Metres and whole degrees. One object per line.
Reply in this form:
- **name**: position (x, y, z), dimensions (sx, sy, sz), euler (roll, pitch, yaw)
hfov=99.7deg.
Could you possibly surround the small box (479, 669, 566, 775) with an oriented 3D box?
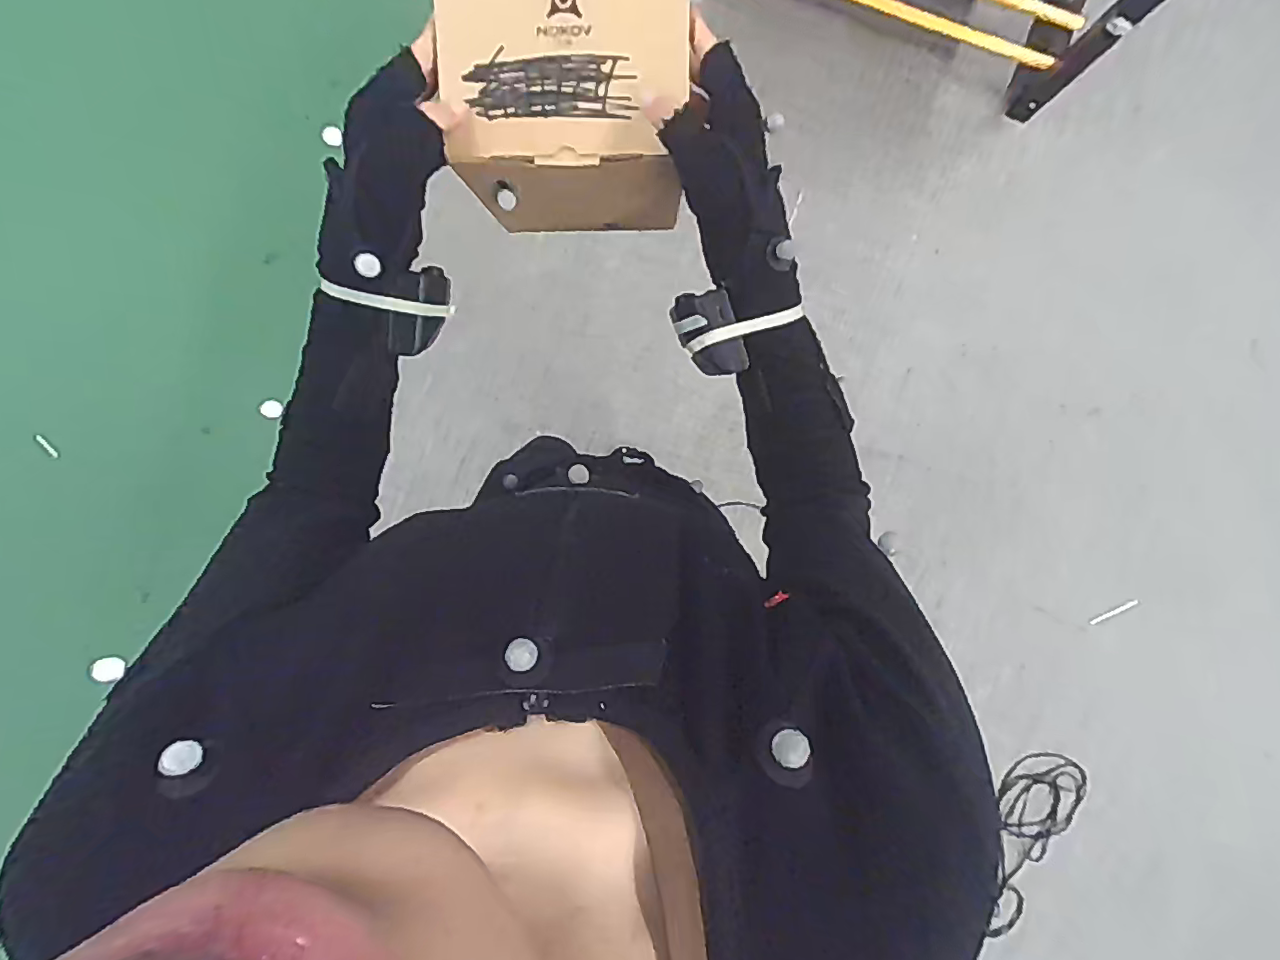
- **small box**: position (-0.299, 0.625, 1.415), dimensions (0.168, 0.176, 0.179), euler (17, 90, -2)
